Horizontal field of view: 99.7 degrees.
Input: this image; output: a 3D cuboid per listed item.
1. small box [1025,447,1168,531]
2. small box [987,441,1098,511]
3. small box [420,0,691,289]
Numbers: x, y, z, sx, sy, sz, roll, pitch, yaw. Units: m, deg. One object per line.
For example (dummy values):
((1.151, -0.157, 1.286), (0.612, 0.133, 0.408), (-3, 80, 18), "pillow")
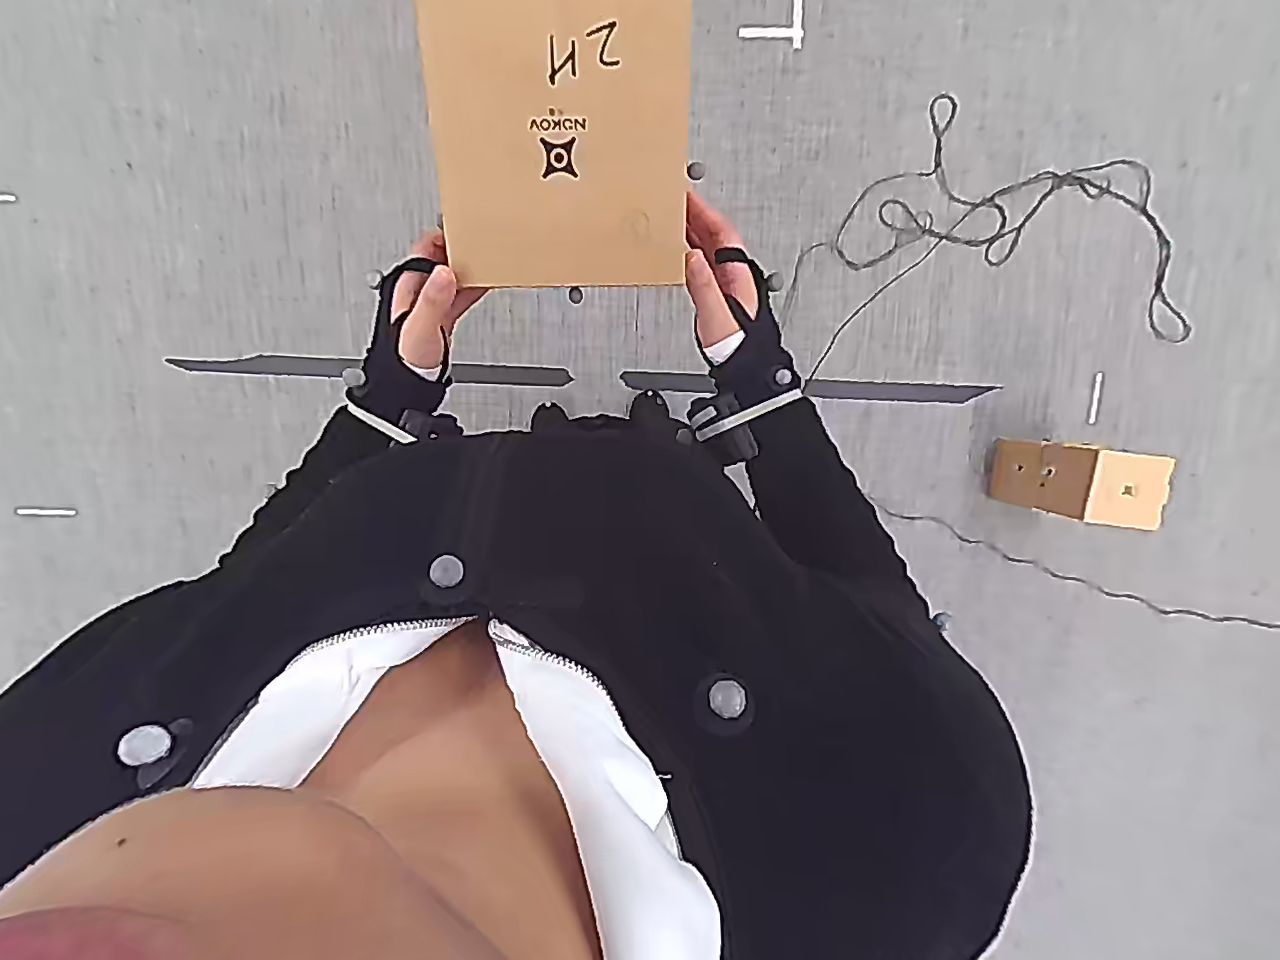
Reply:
((1.067, 0.014, 1.278), (0.179, 0.176, 0.168), (6, 97, -1), "small box")
((1.060, -0.013, 1.439), (0.168, 0.176, 0.179), (2, 98, -2), "small box")
((-0.050, -0.246, 0.425), (0.168, 0.176, 0.179), (0, 110, 0), "small box")
